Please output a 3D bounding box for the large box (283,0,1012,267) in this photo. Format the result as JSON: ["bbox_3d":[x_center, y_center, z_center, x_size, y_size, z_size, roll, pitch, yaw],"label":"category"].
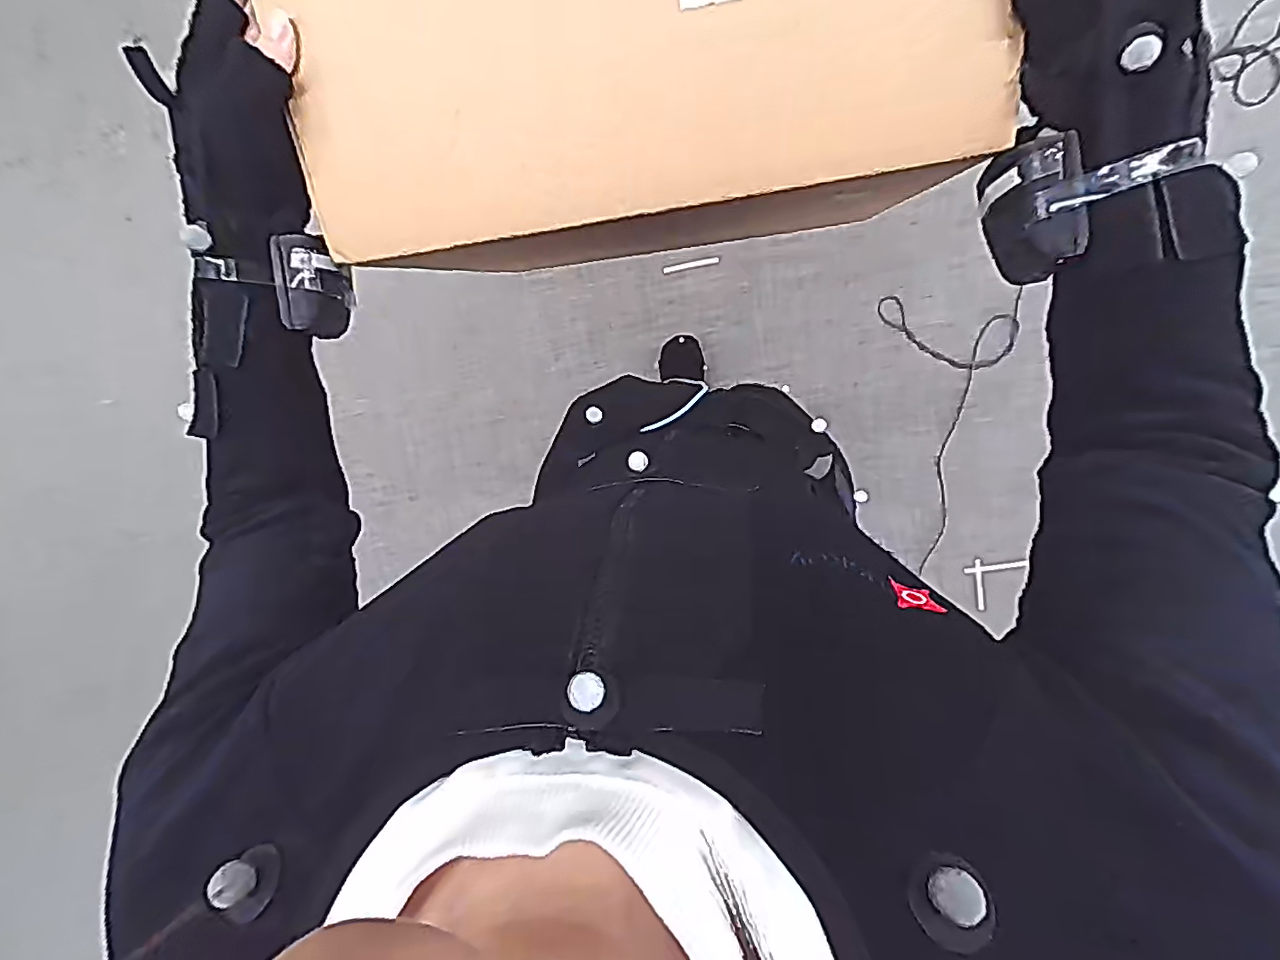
[{"bbox_3d":[0.002,-0.364,0.419,0.408,0.320,0.320,-5,110,11],"label":"large box"}]
